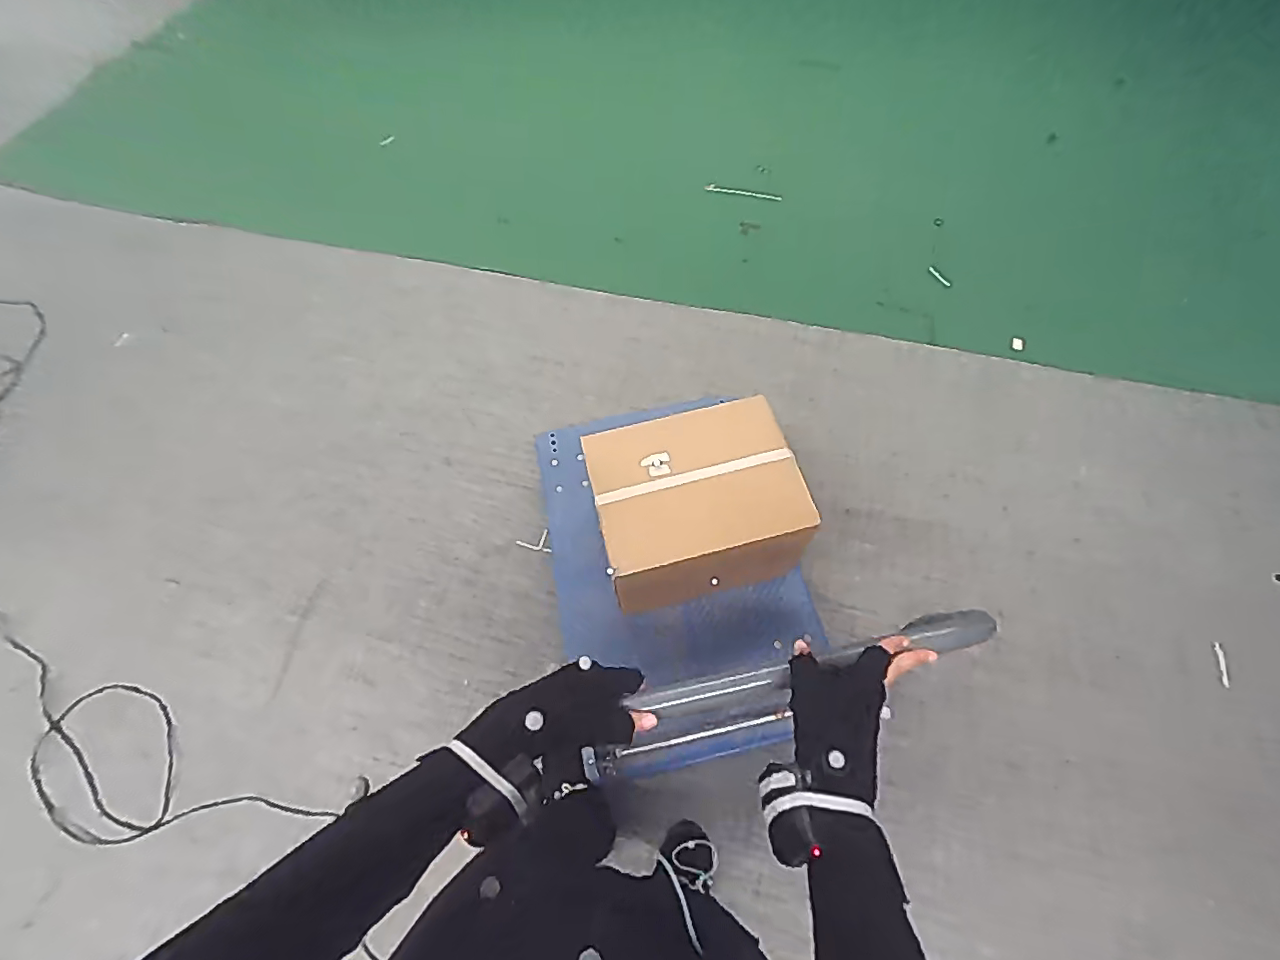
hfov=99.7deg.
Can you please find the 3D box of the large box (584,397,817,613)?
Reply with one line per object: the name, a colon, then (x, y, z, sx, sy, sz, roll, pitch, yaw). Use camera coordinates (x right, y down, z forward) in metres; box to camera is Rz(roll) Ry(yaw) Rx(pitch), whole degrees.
large box: (0.120, 0.069, 1.217, 0.408, 0.320, 0.320, -16, 63, -4)
